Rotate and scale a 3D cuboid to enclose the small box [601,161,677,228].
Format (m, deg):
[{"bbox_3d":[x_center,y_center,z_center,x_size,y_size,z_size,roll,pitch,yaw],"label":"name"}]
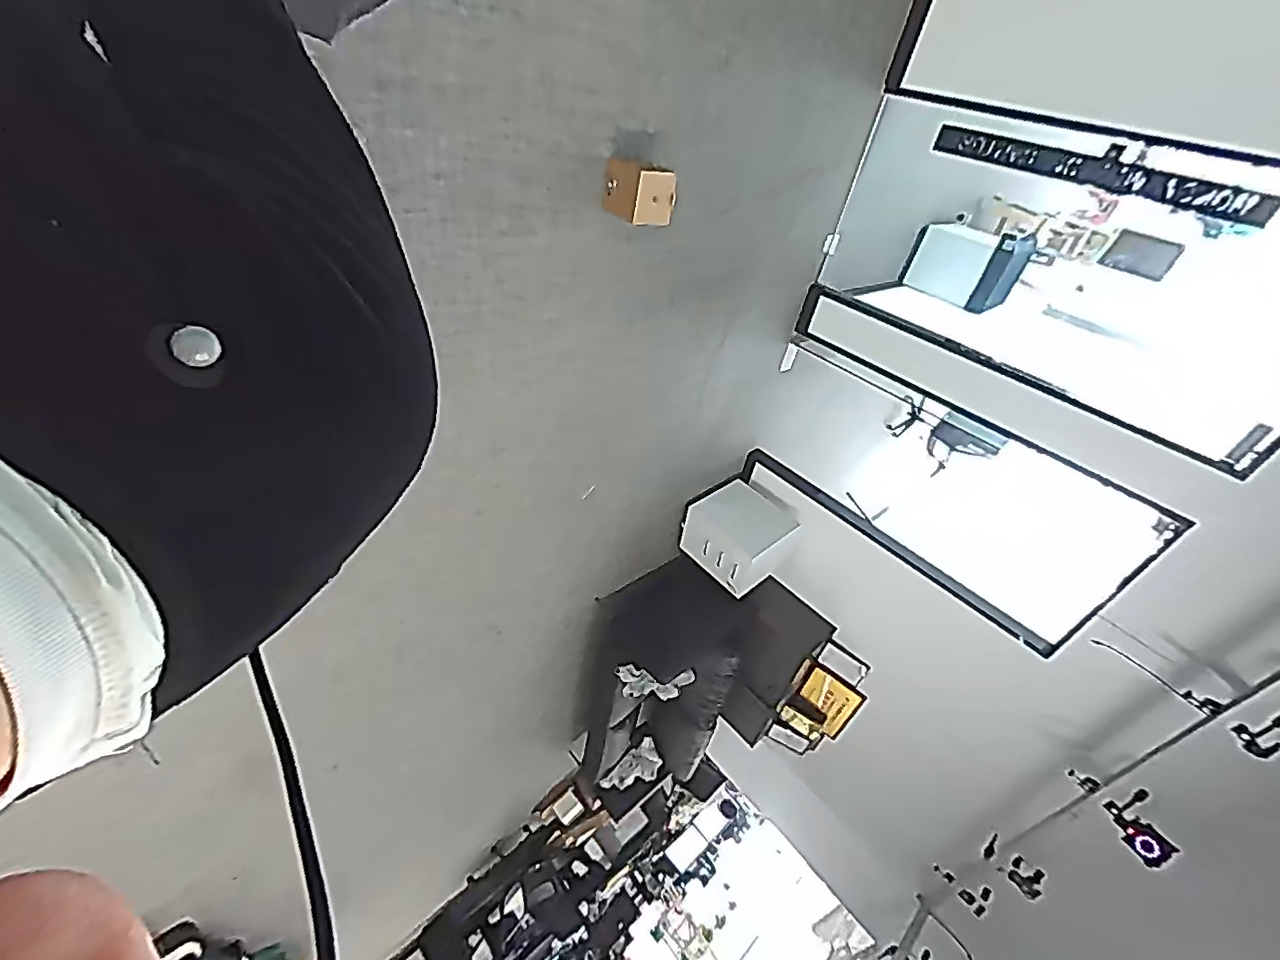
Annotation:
[{"bbox_3d":[-0.006,-0.970,1.837,0.179,0.176,0.168,-20,136,-40],"label":"small box"}]
